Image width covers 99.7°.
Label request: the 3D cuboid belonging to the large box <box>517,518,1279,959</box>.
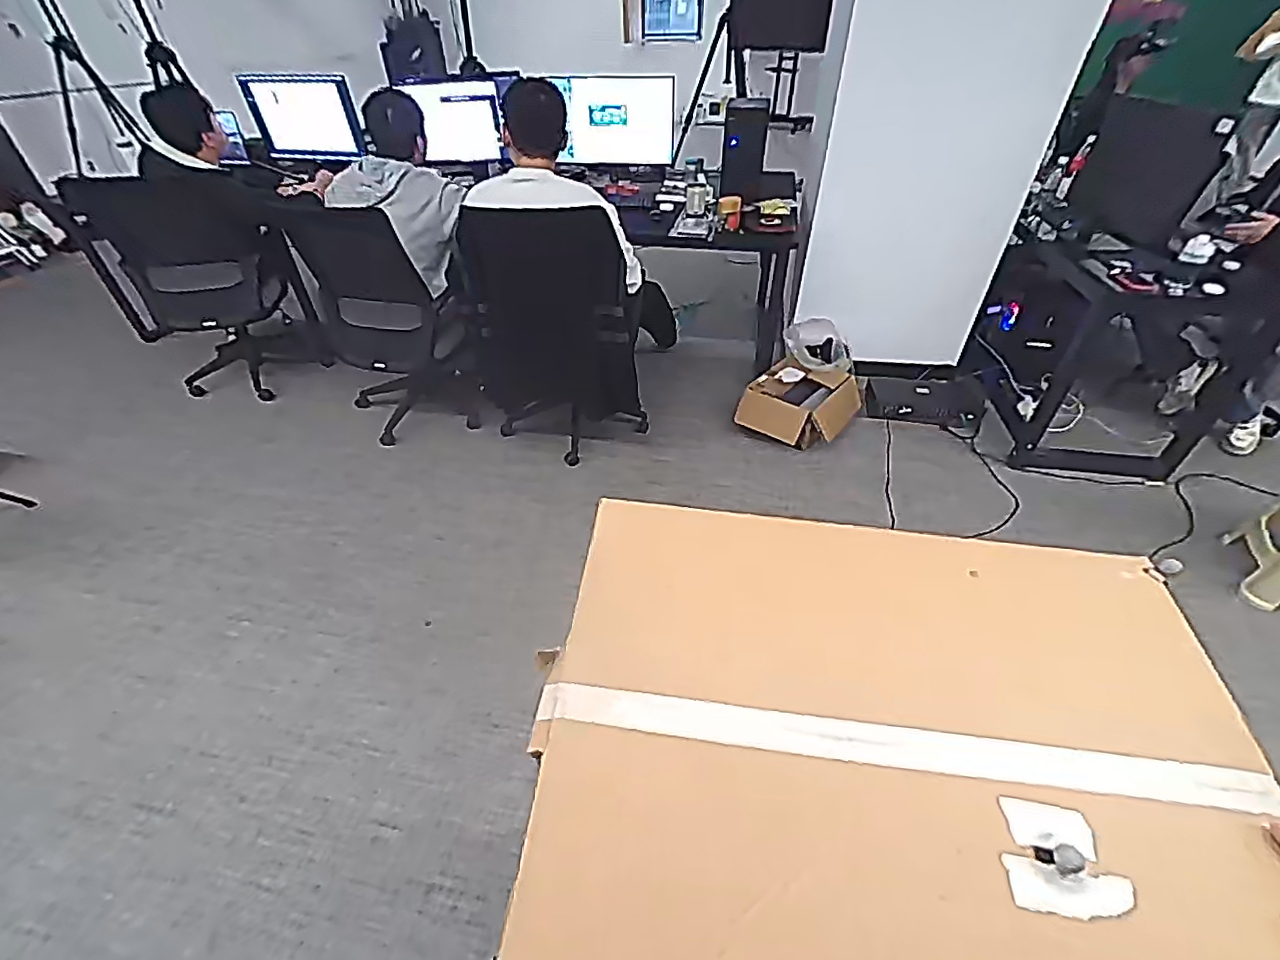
[{"bbox_3d":[0.145,0.259,0.431,0.408,0.320,0.320,6,51,3],"label":"large box"}]
